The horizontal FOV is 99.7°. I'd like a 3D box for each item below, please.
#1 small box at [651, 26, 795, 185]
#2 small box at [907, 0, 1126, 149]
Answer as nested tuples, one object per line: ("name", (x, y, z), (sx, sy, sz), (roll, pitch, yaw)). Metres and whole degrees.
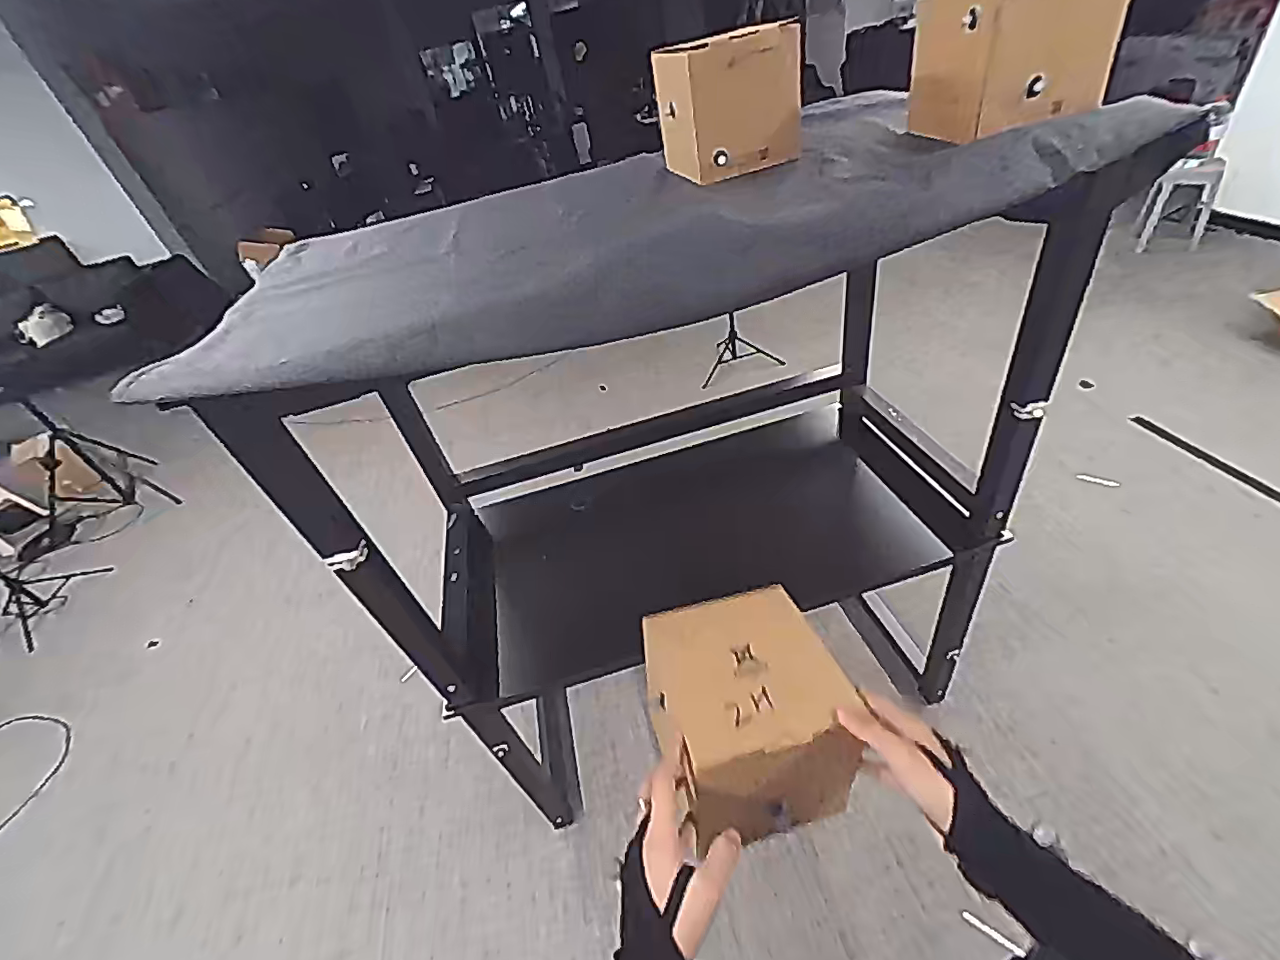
("small box", (0.131, -0.579, 0.845), (0.168, 0.176, 0.179), (-18, 39, -6))
("small box", (0.483, -0.561, 0.722), (0.168, 0.176, 0.179), (-14, 40, 0))
